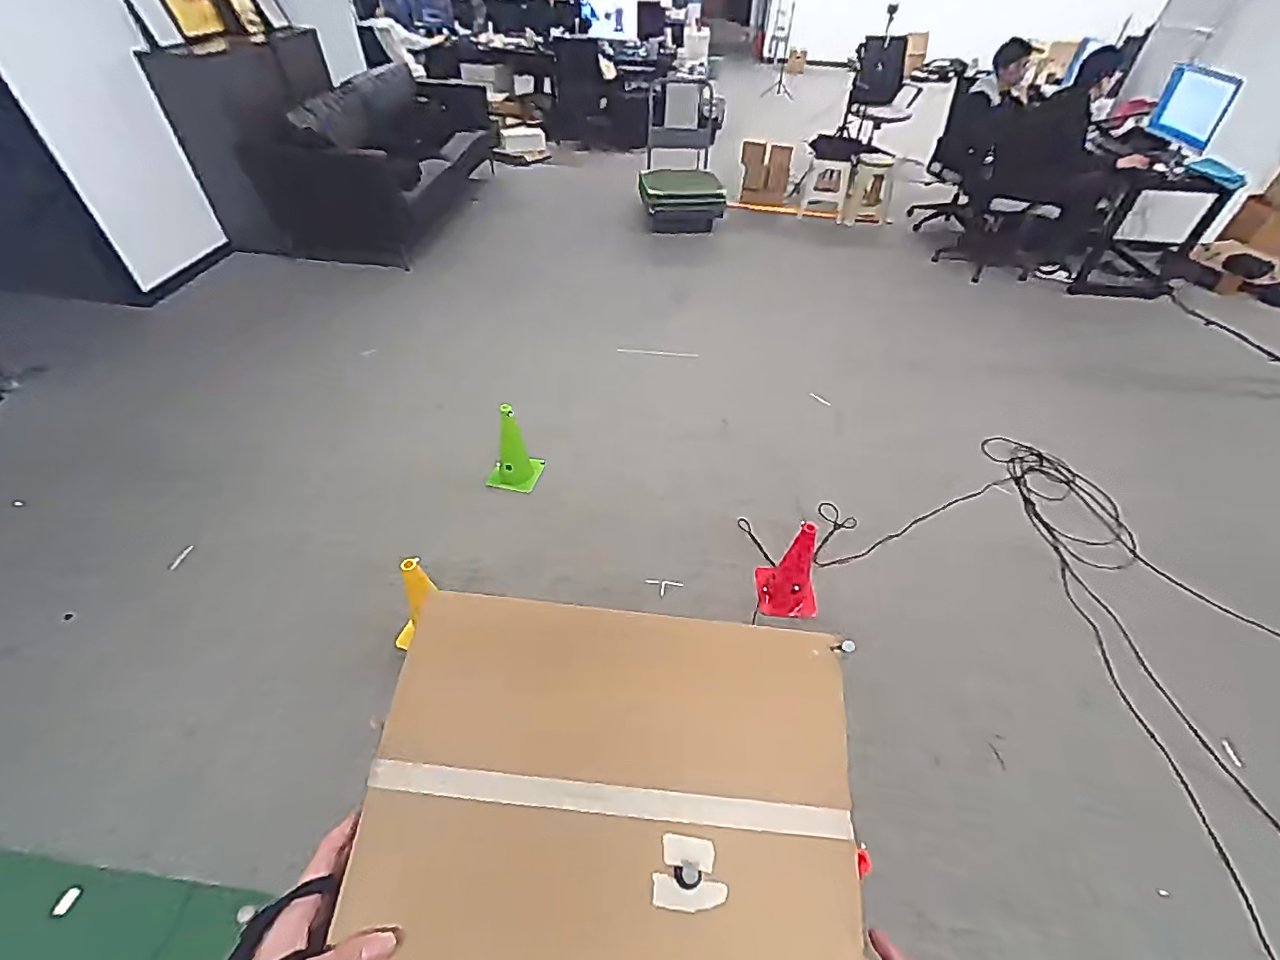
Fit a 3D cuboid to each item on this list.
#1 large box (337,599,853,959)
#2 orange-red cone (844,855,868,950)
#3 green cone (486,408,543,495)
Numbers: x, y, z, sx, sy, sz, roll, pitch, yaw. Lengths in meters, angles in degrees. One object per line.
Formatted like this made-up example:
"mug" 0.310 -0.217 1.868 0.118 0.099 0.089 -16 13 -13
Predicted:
"large box" -0.031 0.339 0.597 0.408 0.320 0.320 6 63 0
"orange-red cone" 0.428 0.889 1.196 0.199 0.360 0.198 12 46 7
"green cone" -0.531 -0.140 2.191 0.200 0.368 0.202 10 46 7
